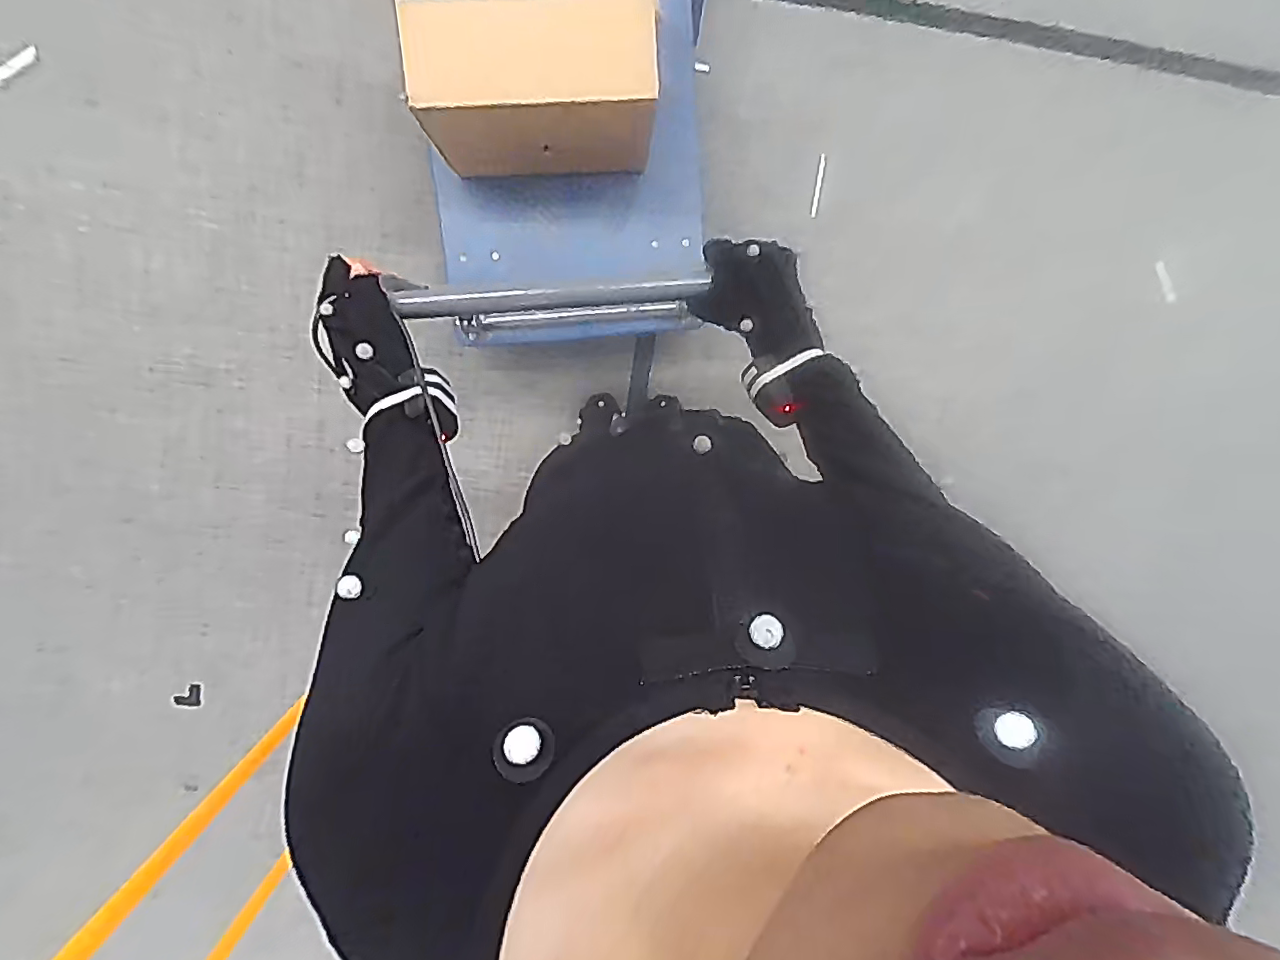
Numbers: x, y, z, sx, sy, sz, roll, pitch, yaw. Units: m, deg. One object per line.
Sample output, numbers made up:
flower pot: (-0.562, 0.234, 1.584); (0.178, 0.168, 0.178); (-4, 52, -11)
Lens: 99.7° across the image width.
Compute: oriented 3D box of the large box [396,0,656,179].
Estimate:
large box: (-0.190, -0.780, 0.996); (0.408, 0.320, 0.320); (-4, 100, -2)

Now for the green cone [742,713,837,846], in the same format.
green cone: (0.437, 0.839, 1.478); (0.202, 0.368, 0.200); (10, 99, -7)
